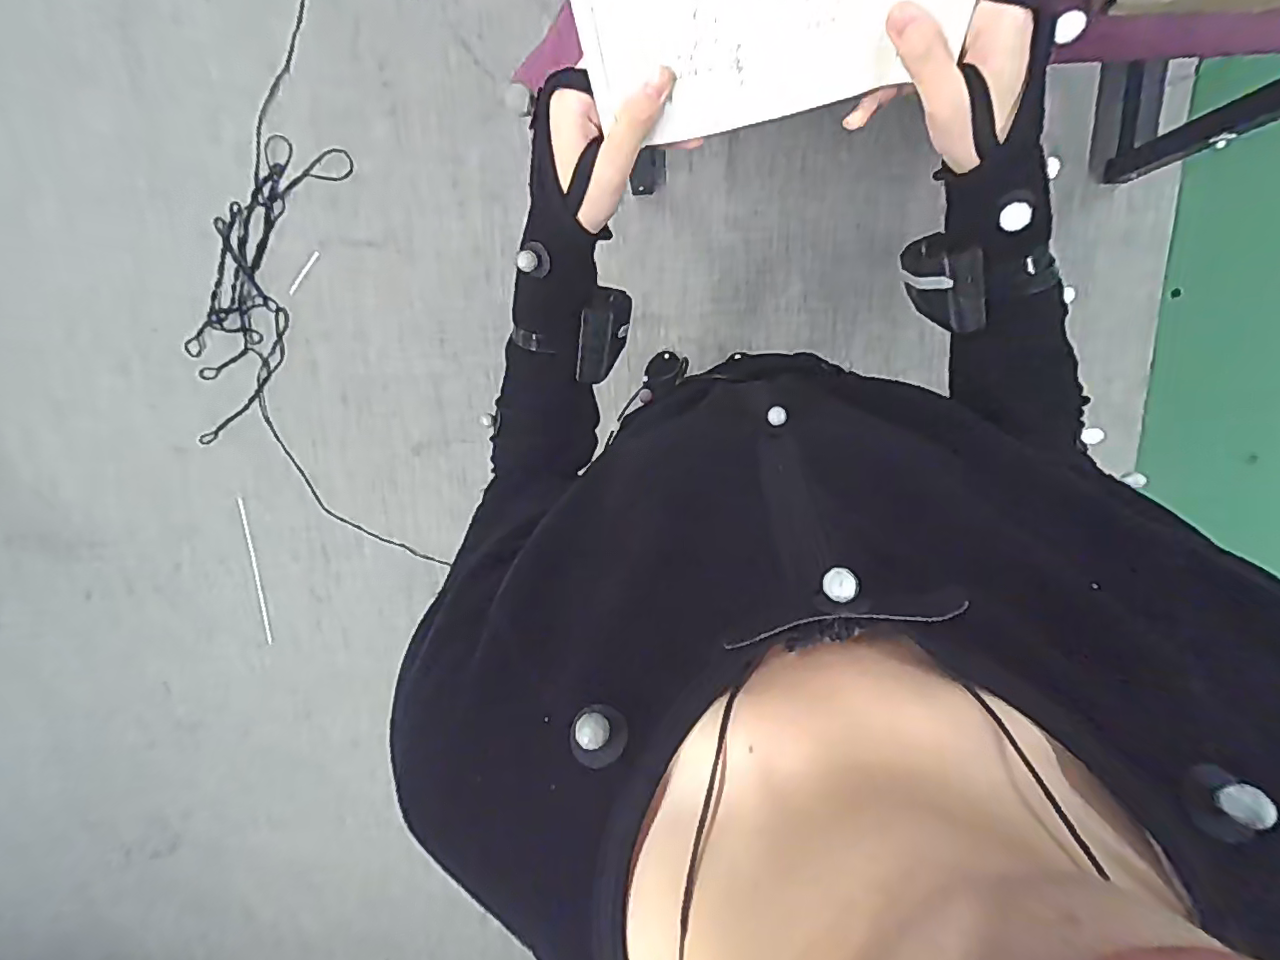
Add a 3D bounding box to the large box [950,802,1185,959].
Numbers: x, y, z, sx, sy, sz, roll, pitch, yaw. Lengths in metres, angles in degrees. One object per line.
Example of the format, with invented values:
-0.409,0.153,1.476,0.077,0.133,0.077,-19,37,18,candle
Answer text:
1.169,1.180,1.514,0.408,0.320,0.320,-15,100,6,large box
